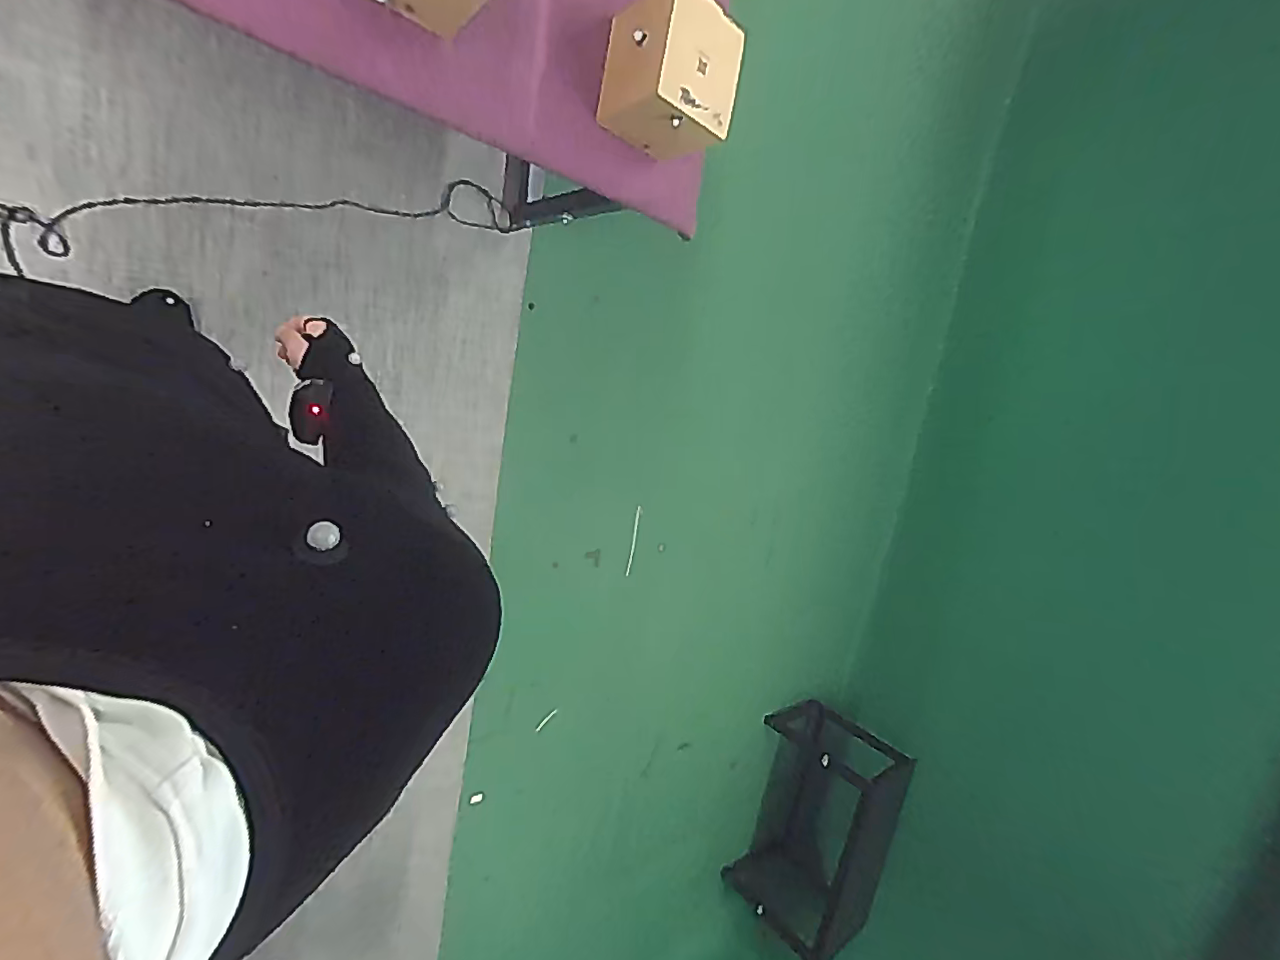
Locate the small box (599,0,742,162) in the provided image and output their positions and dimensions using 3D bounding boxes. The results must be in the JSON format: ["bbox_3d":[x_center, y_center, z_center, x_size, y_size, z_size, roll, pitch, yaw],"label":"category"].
[{"bbox_3d":[0.048,-0.691,0.937,0.168,0.176,0.179,4,99,-41],"label":"small box"}]

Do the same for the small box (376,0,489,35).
[{"bbox_3d":[-0.273,-0.699,0.651,0.168,0.176,0.179,2,103,-41],"label":"small box"}]
